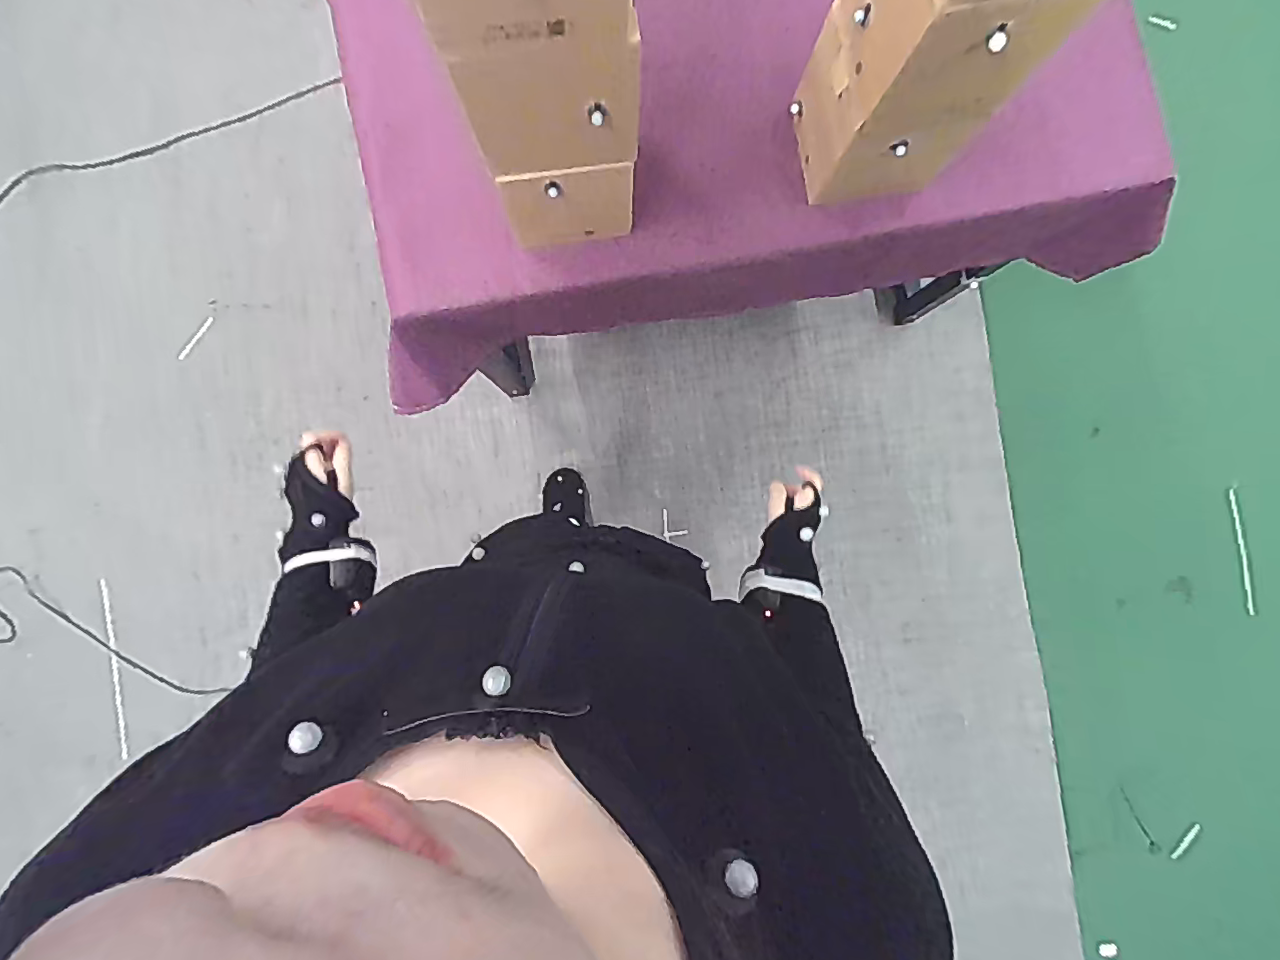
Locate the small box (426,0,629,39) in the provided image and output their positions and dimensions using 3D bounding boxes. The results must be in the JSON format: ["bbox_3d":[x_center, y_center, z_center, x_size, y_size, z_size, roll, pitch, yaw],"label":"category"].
[{"bbox_3d":[-0.096,-0.461,0.389,0.168,0.176,0.179,-6,88,-2],"label":"small box"}]

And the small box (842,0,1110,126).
[{"bbox_3d":[0.341,-0.514,0.570,0.179,0.176,0.168,-9,89,-1],"label":"small box"}]

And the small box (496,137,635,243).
[{"bbox_3d":[-0.099,-0.446,0.717,0.168,0.176,0.179,-8,88,-1],"label":"small box"}]

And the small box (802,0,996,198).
[{"bbox_3d":[0.332,-0.509,0.732,0.179,0.176,0.168,-9,89,-3],"label":"small box"}]

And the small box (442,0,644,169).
[{"bbox_3d":[-0.094,-0.451,0.553,0.179,0.176,0.168,-7,88,-1],"label":"small box"}]
